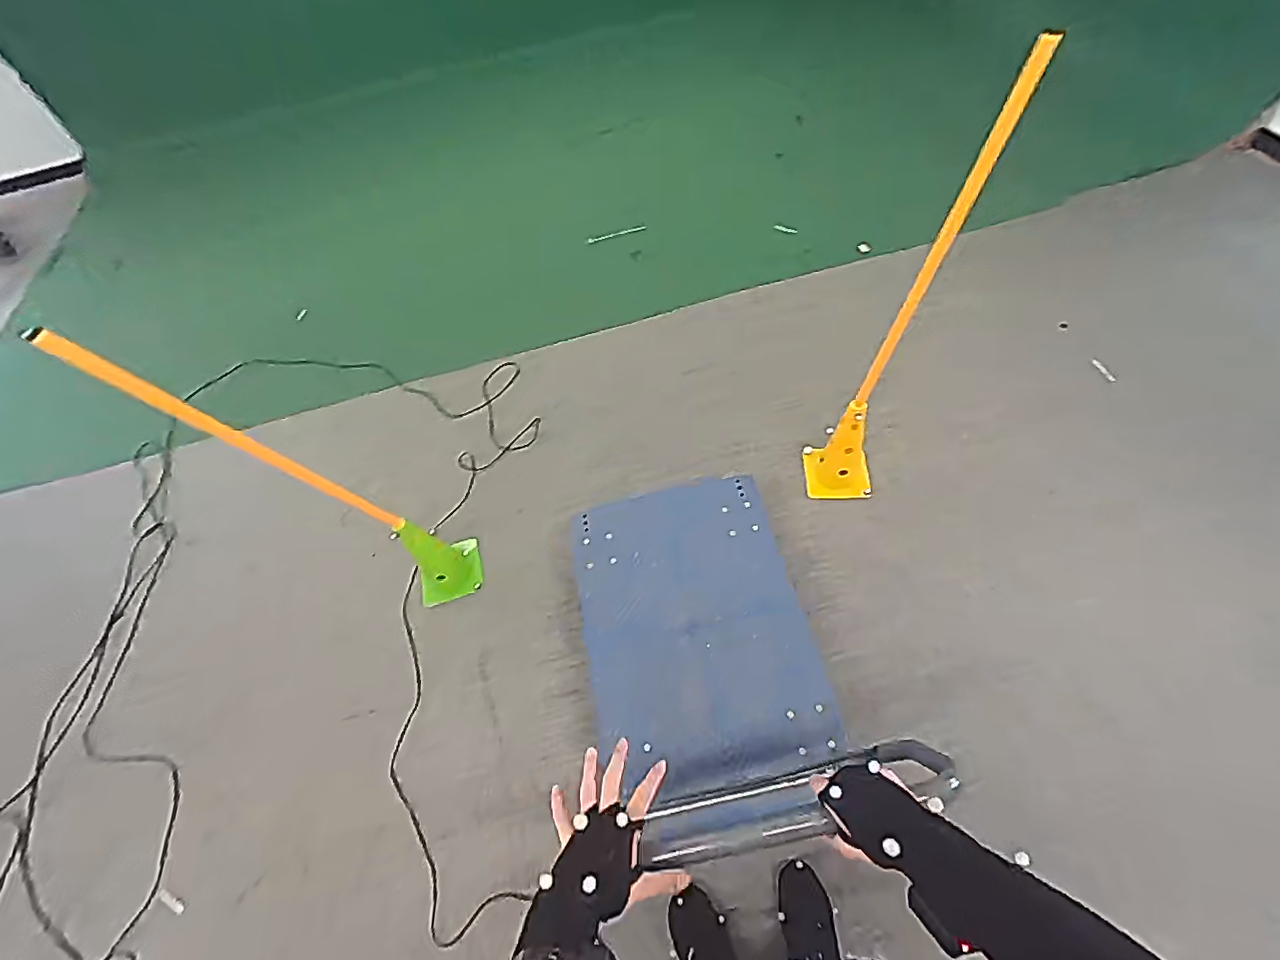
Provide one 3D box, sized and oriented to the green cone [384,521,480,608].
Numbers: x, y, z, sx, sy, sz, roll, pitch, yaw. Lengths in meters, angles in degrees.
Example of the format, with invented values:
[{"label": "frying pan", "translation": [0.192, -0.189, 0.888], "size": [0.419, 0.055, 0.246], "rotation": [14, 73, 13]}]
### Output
[{"label": "green cone", "translation": [-0.664, 0.219, 1.657], "size": [0.202, 0.368, 0.200], "rotation": [-20, 57, -2]}]
